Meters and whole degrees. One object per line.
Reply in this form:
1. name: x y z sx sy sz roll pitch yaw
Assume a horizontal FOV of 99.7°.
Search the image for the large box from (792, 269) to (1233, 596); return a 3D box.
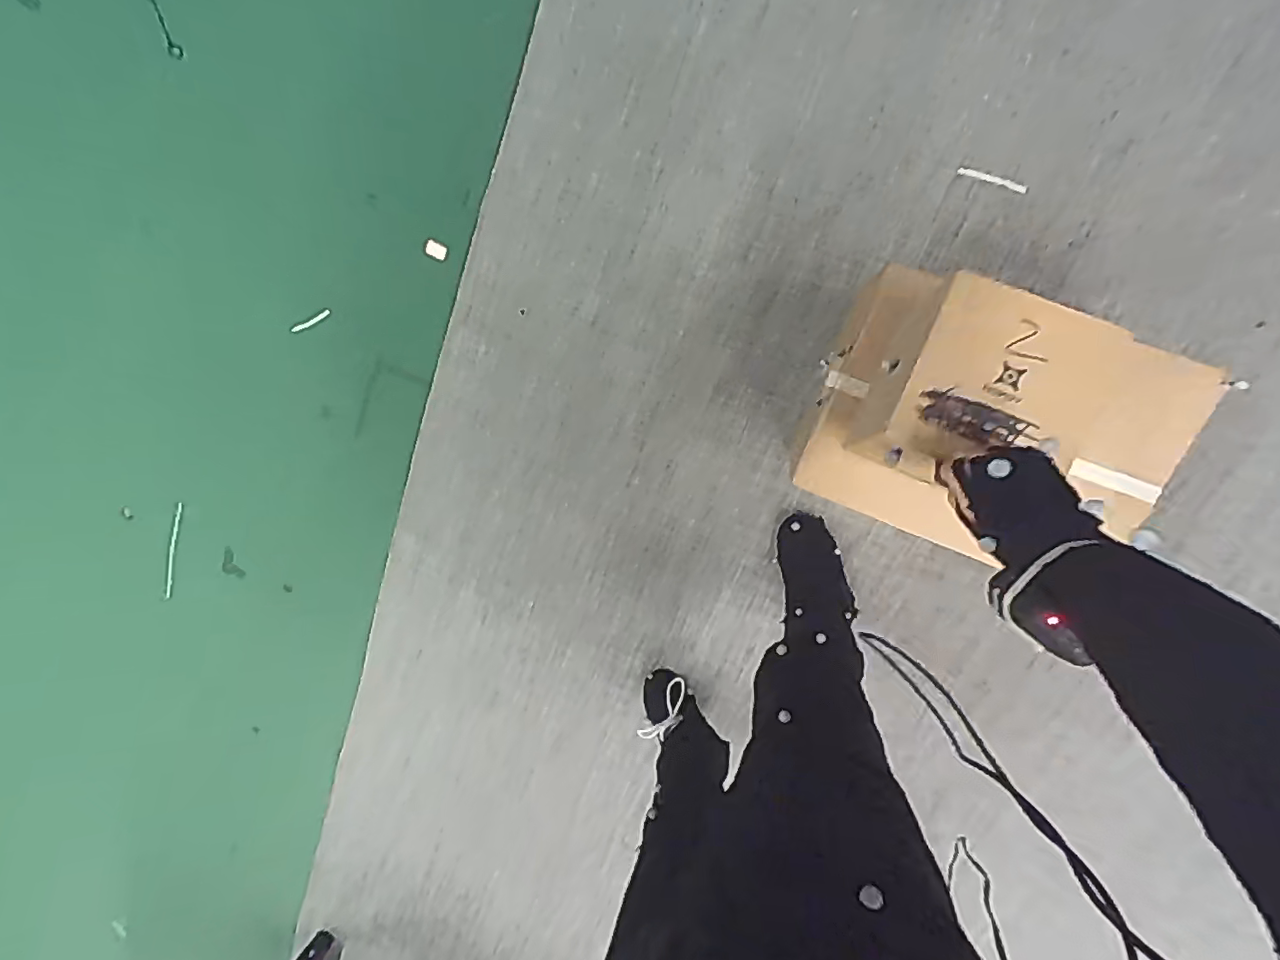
1. large box: 0.484 -0.087 0.828 0.408 0.320 0.320 22 107 9
